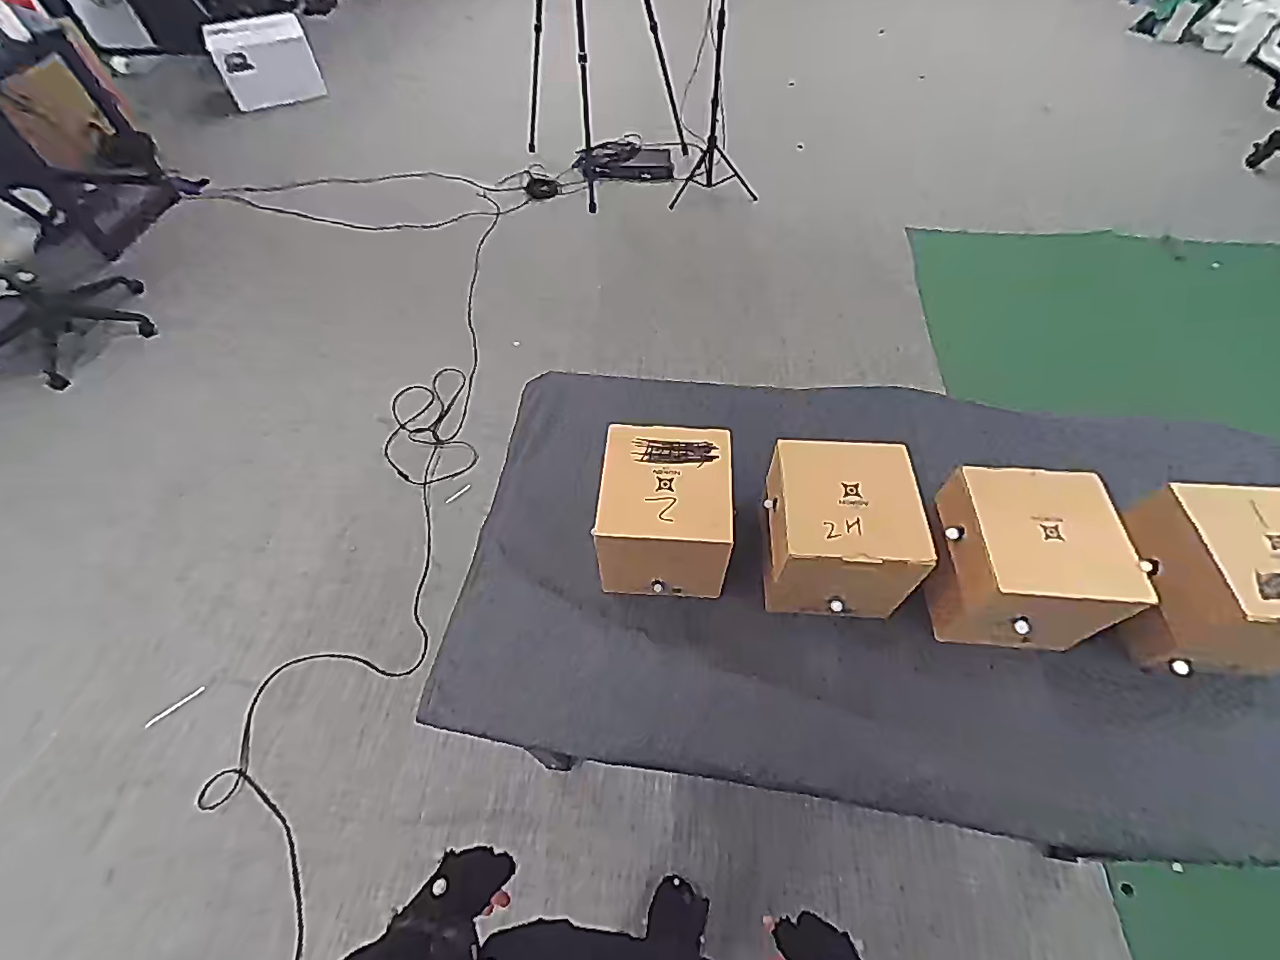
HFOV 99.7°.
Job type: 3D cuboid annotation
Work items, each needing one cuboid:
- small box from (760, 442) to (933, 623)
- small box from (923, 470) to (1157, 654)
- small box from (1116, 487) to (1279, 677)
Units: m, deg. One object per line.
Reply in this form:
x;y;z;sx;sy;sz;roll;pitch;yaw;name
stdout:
0.255;0.071;0.720;0.168;0.176;0.179;3;55;5;small box
0.475;0.108;0.687;0.168;0.176;0.179;3;54;4;small box
0.714;0.129;0.662;0.168;0.176;0.179;3;54;4;small box
